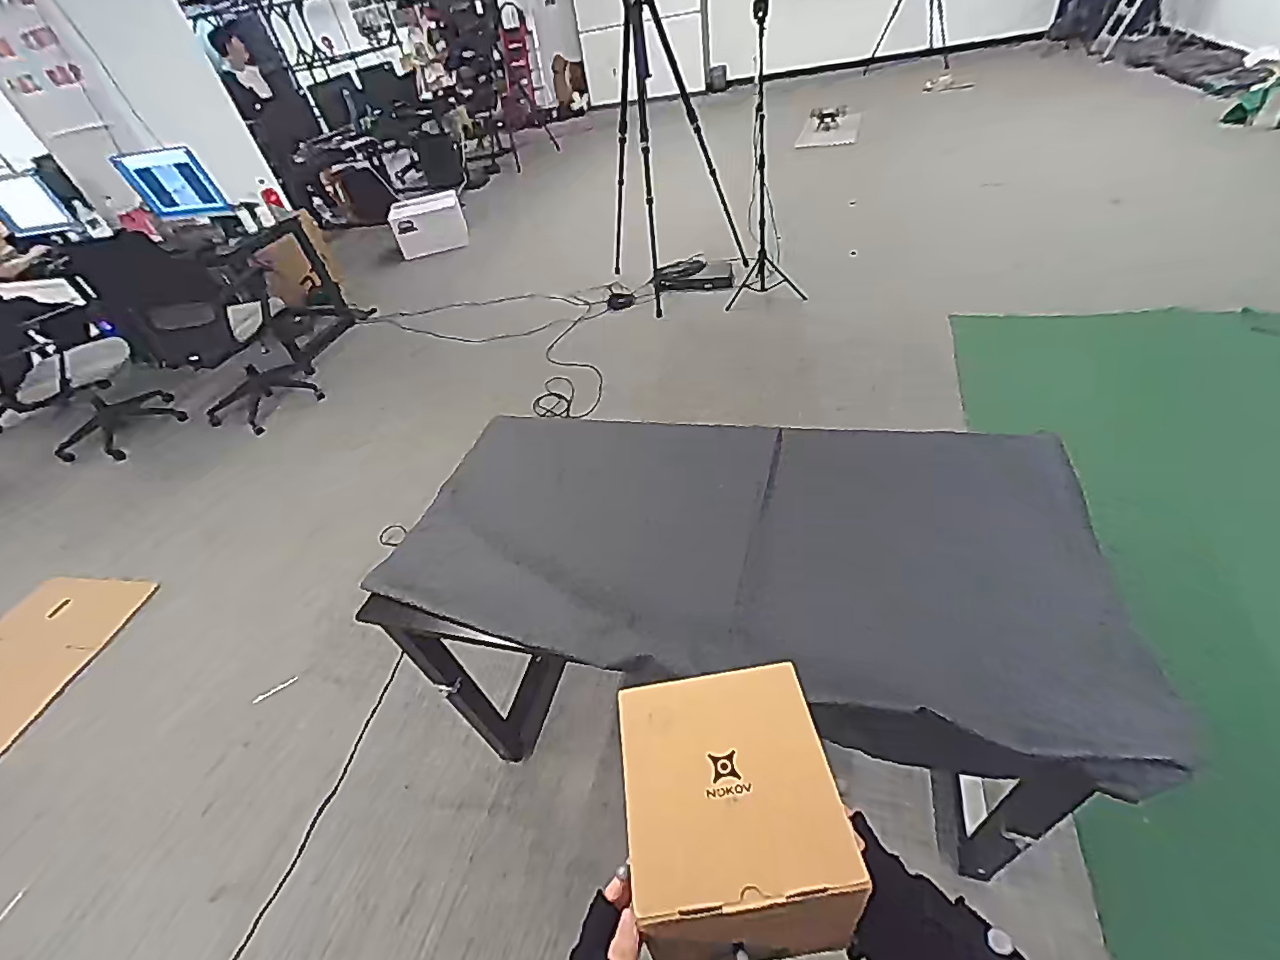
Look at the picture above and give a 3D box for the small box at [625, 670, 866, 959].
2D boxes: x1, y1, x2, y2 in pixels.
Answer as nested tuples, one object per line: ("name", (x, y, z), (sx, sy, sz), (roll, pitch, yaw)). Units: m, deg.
("small box", (0.082, 0.306, 0.496), (0.168, 0.176, 0.179), (-10, 39, 0))
